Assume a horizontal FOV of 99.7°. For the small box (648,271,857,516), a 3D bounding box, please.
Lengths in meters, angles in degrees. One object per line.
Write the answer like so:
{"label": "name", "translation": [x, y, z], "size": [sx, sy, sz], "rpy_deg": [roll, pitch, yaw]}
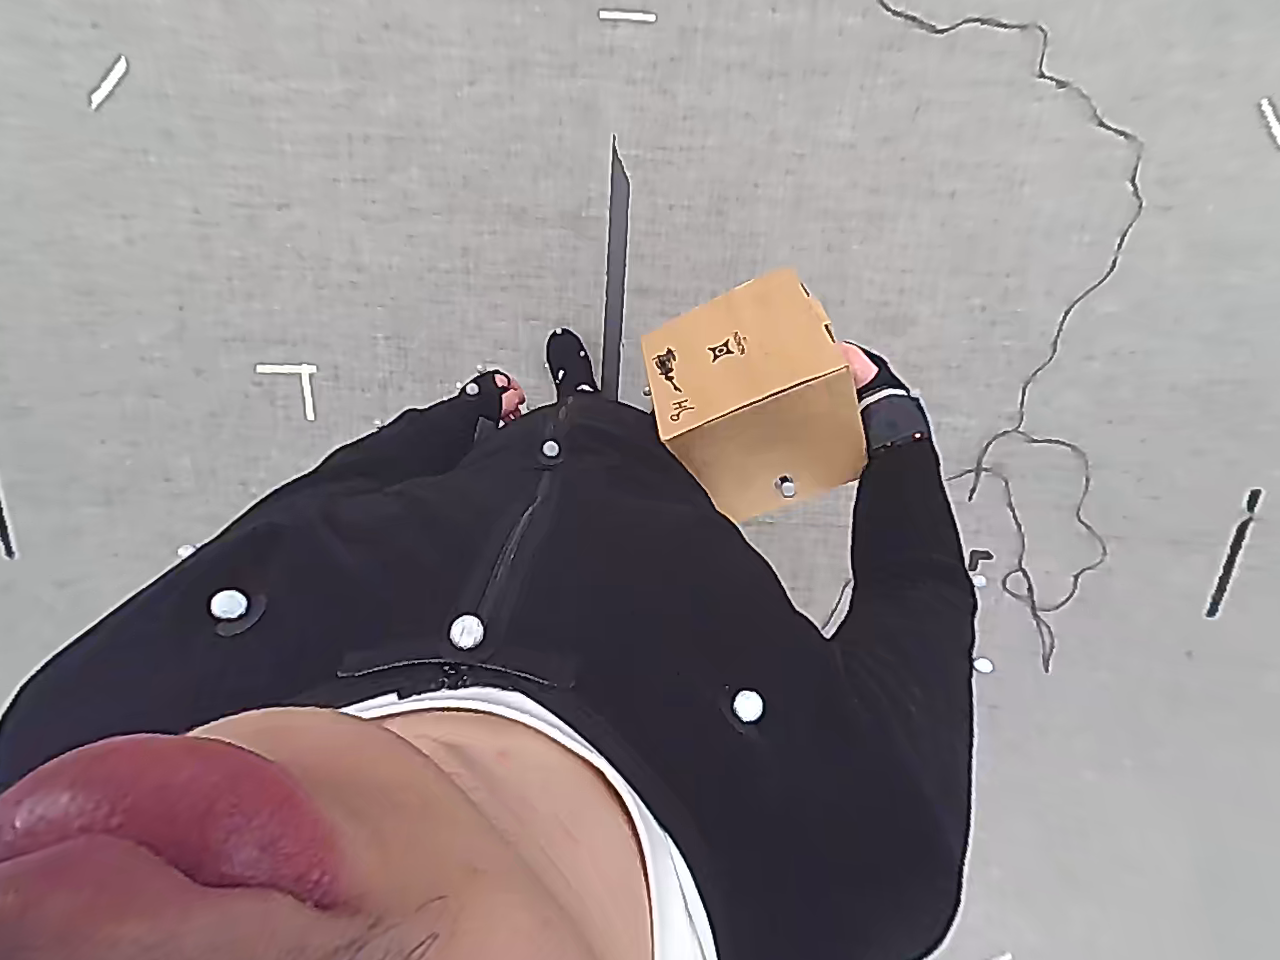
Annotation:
{"label": "small box", "translation": [0.127, -0.087, 0.600], "size": [0.179, 0.168, 0.176], "rpy_deg": [-21, 138, 15]}
